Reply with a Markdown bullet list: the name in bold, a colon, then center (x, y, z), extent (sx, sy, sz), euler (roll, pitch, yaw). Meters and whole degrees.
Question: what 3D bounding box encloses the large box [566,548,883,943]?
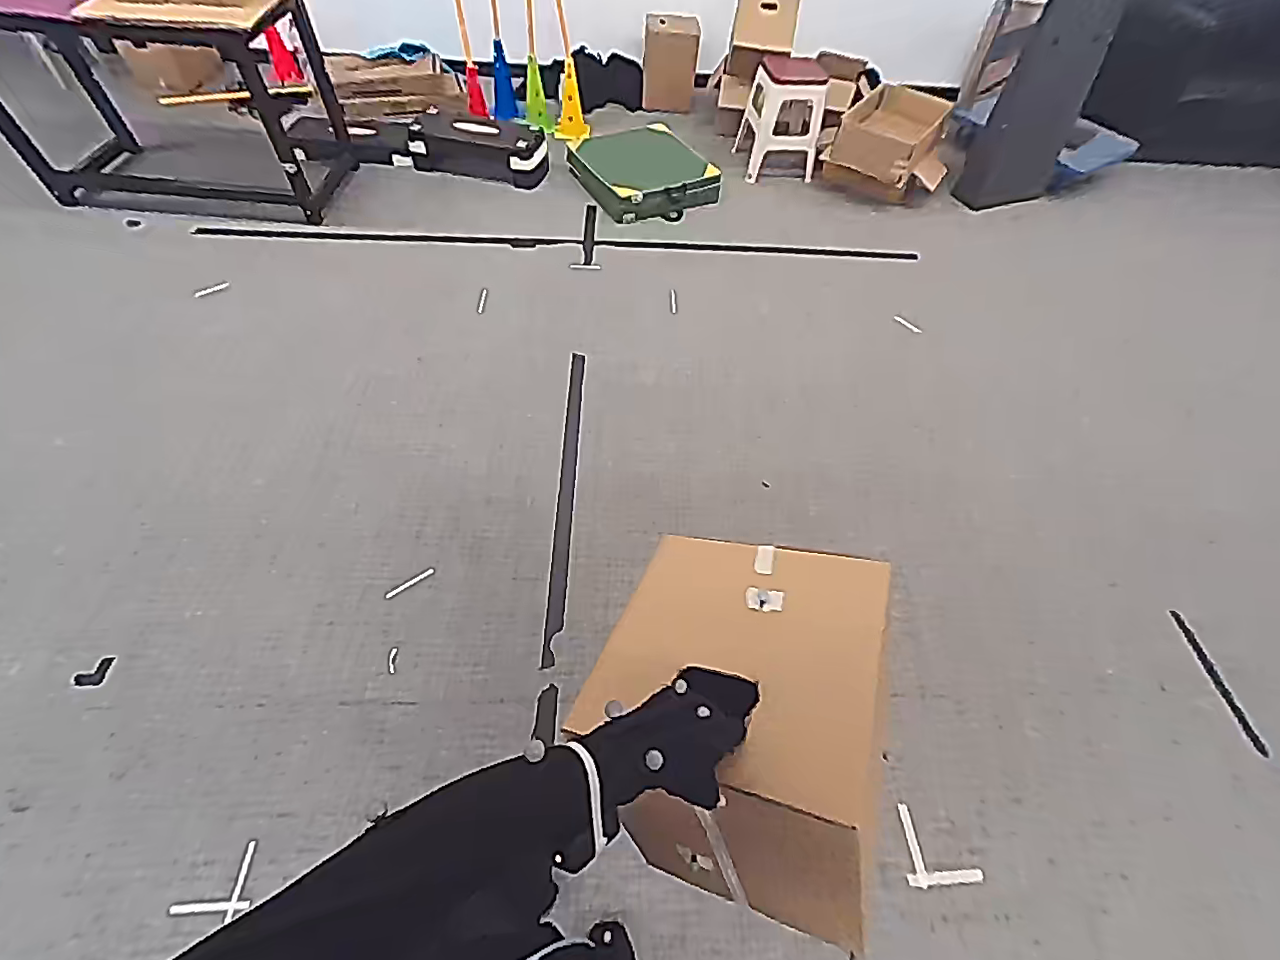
- **large box**: center (0.158, 0.347, 0.753), extent (0.320, 0.408, 0.320), euler (4, 42, 29)
